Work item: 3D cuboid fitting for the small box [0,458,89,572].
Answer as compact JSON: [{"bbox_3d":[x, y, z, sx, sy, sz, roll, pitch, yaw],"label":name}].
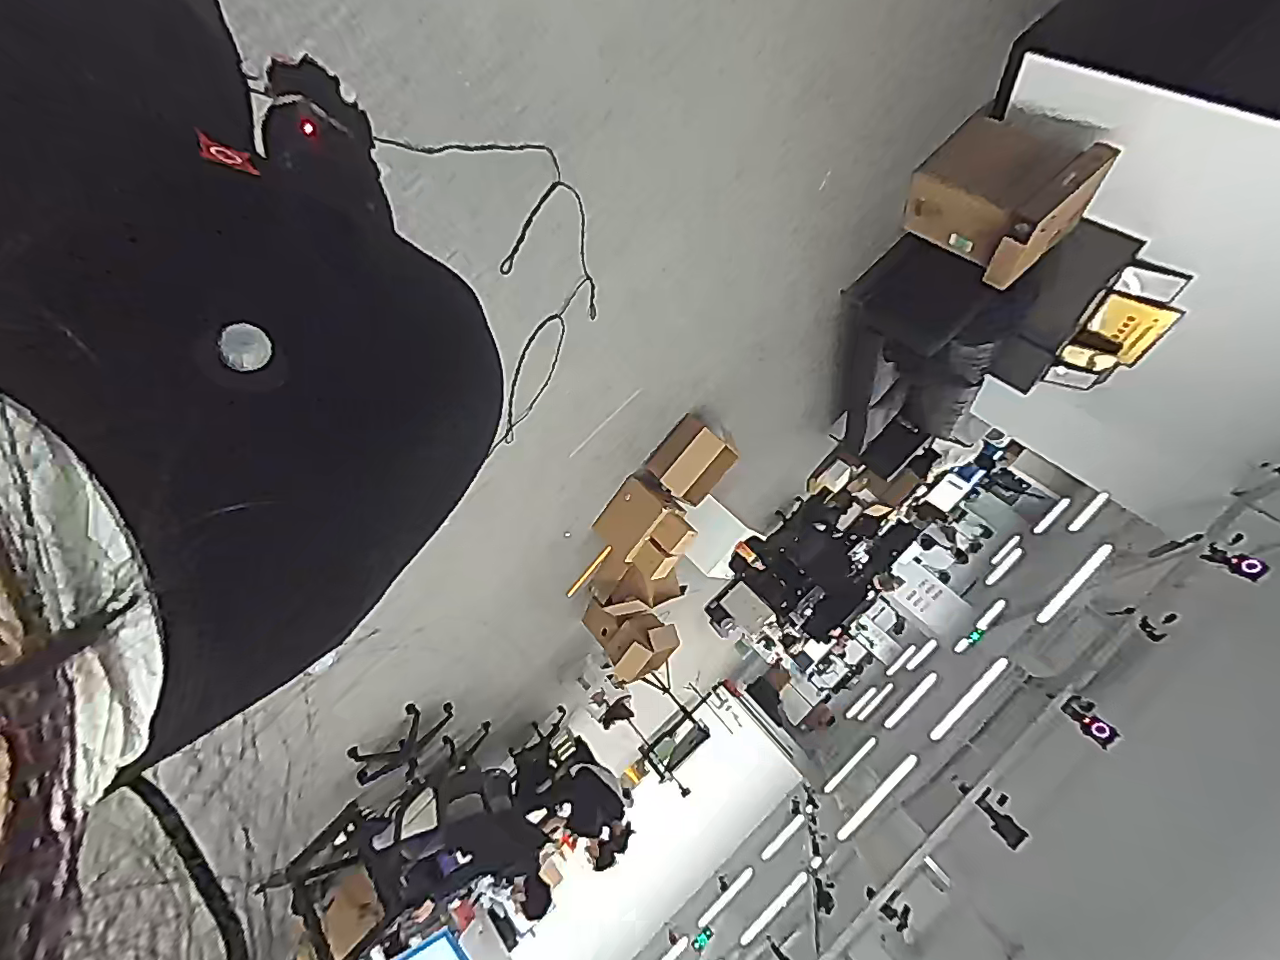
[{"bbox_3d":[-1.370,0.073,1.173,0.179,0.176,0.168,-47,154,2],"label":"small box"}]
